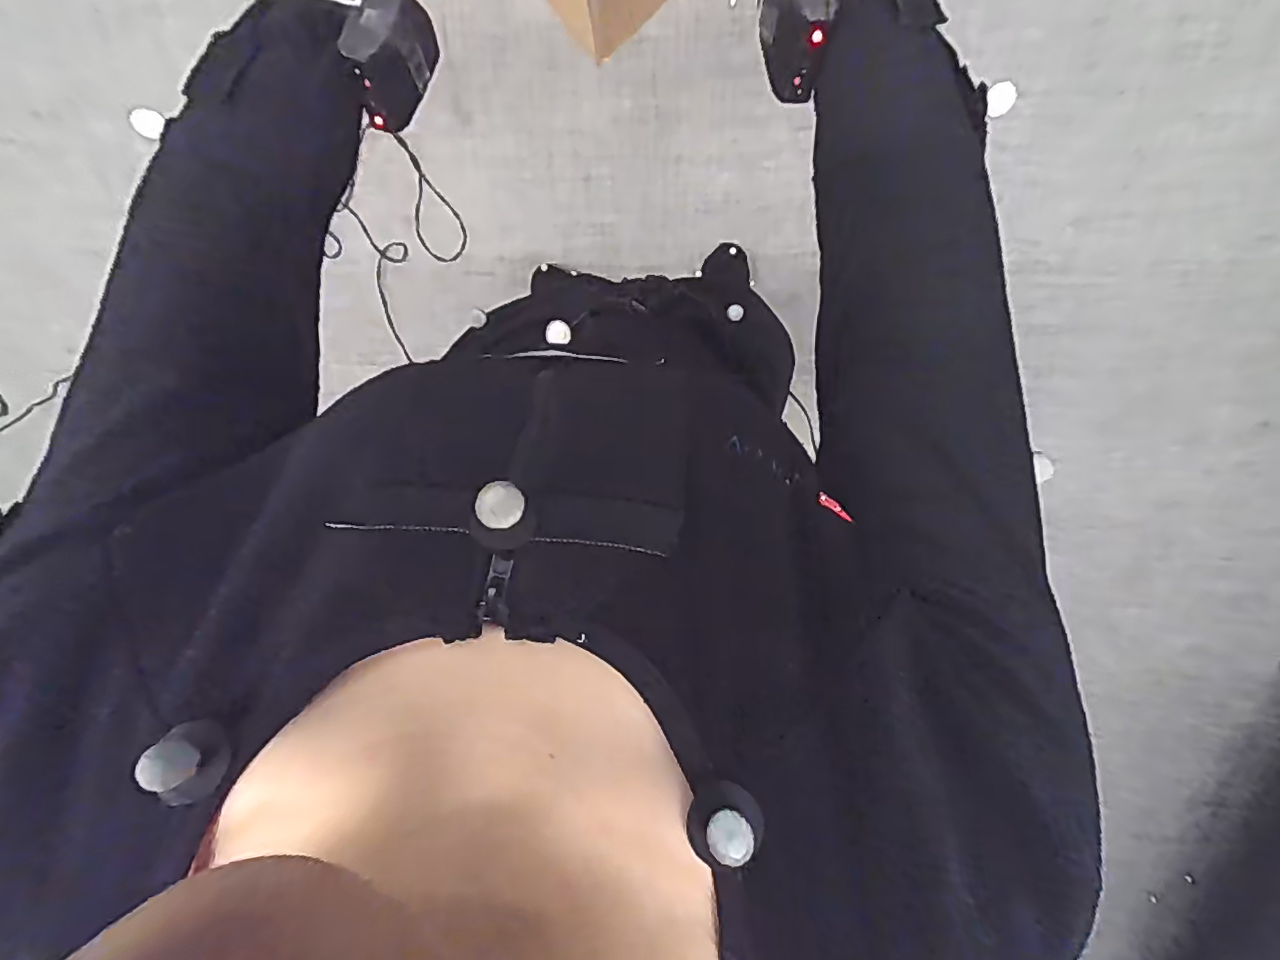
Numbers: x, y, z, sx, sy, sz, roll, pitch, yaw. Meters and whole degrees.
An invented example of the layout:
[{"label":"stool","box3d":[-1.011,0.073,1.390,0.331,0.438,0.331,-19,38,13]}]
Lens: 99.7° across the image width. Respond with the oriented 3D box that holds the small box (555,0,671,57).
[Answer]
[{"label":"small box","box3d":[-0.014,-0.389,0.292,0.179,0.176,0.168,-39,105,12]}]
